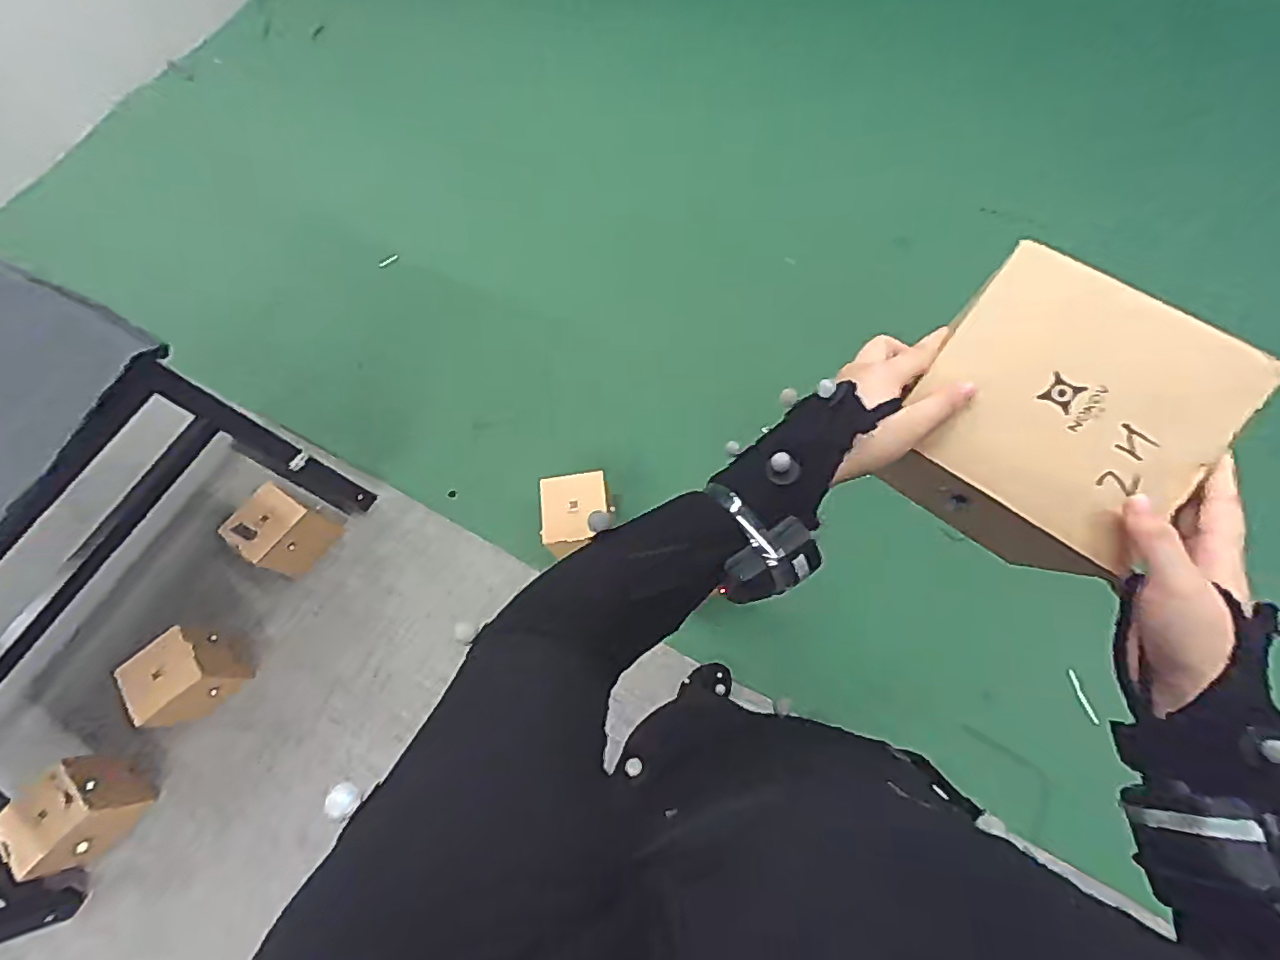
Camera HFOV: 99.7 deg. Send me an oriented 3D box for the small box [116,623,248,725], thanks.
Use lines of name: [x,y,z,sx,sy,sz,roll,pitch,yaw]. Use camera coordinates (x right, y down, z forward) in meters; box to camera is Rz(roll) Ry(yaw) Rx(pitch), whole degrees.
small box: [-1.138,0.486,1.363,0.179,0.176,0.168,-41,70,-9]

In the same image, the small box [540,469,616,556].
small box: [-0.160,0.089,1.421,0.168,0.176,0.179,-8,69,2]

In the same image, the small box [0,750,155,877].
small box: [-1.316,0.770,1.271,0.168,0.176,0.179,38,78,17]

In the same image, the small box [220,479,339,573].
small box: [-0.978,0.133,1.484,0.168,0.176,0.179,31,74,16]

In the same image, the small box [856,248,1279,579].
small box: [0.303,-0.042,0.438,0.179,0.176,0.168,37,95,13]
